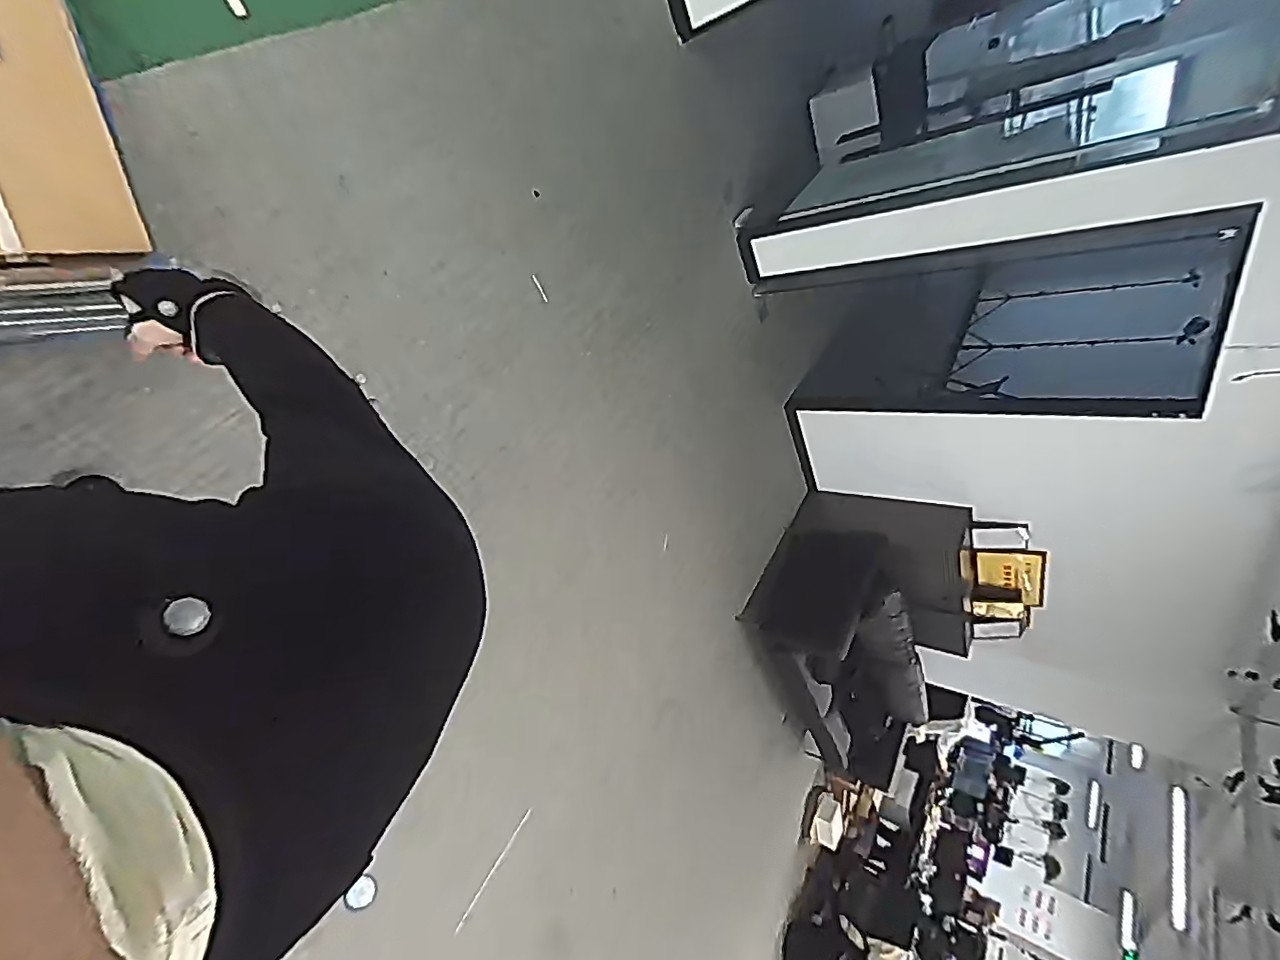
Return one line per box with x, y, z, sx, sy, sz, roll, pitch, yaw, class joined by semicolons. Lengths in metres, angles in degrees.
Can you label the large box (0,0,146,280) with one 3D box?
-1.026;-0.523;0.796;0.320;0.320;0.408;-27;116;-45;large box
